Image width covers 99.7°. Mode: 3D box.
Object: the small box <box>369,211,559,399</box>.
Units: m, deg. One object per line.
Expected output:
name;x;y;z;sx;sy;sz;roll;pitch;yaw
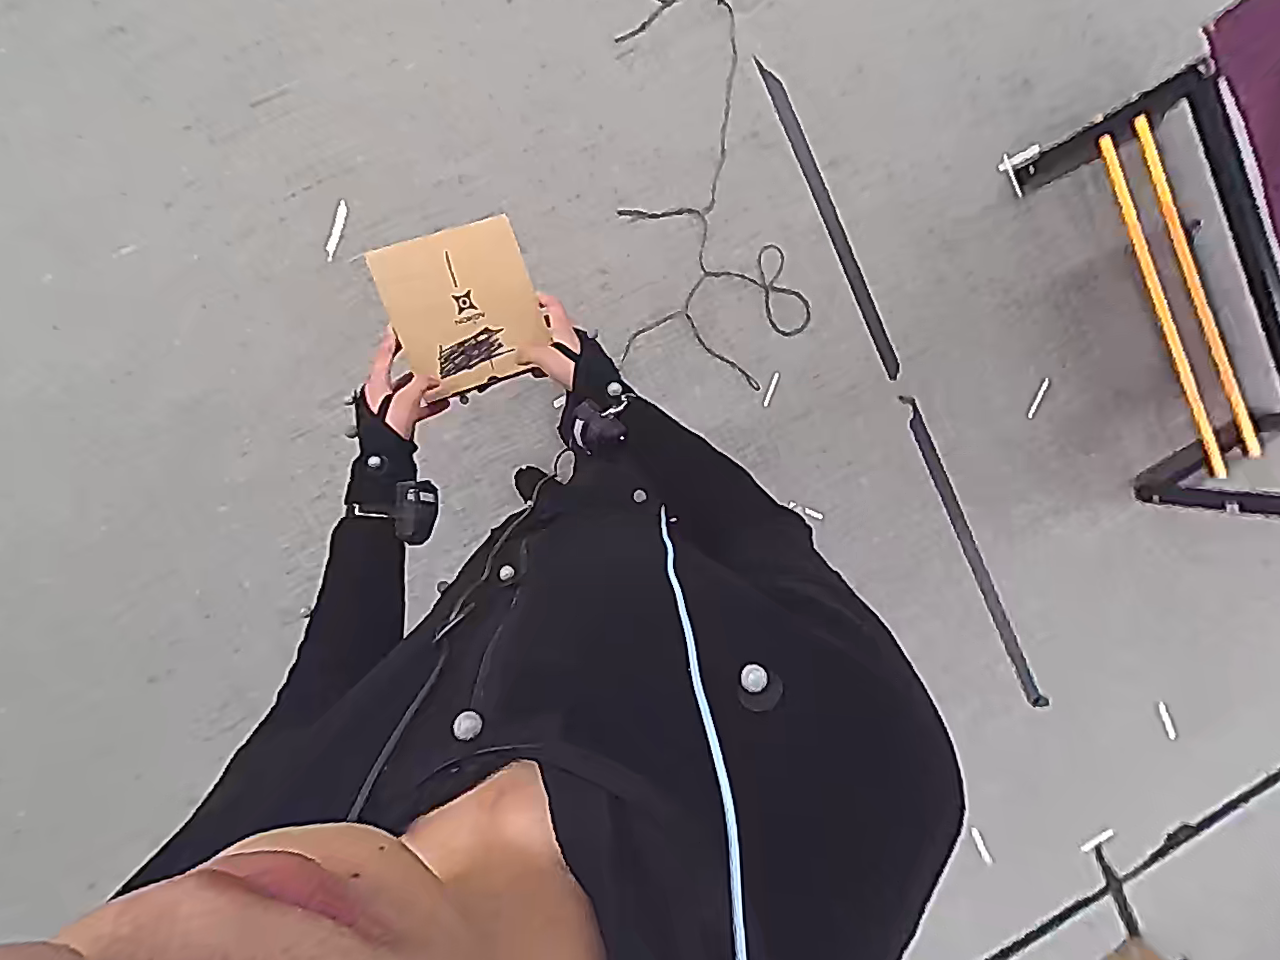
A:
small box;-0.212;-0.214;0.693;0.168;0.176;0.179;-20;104;-10
